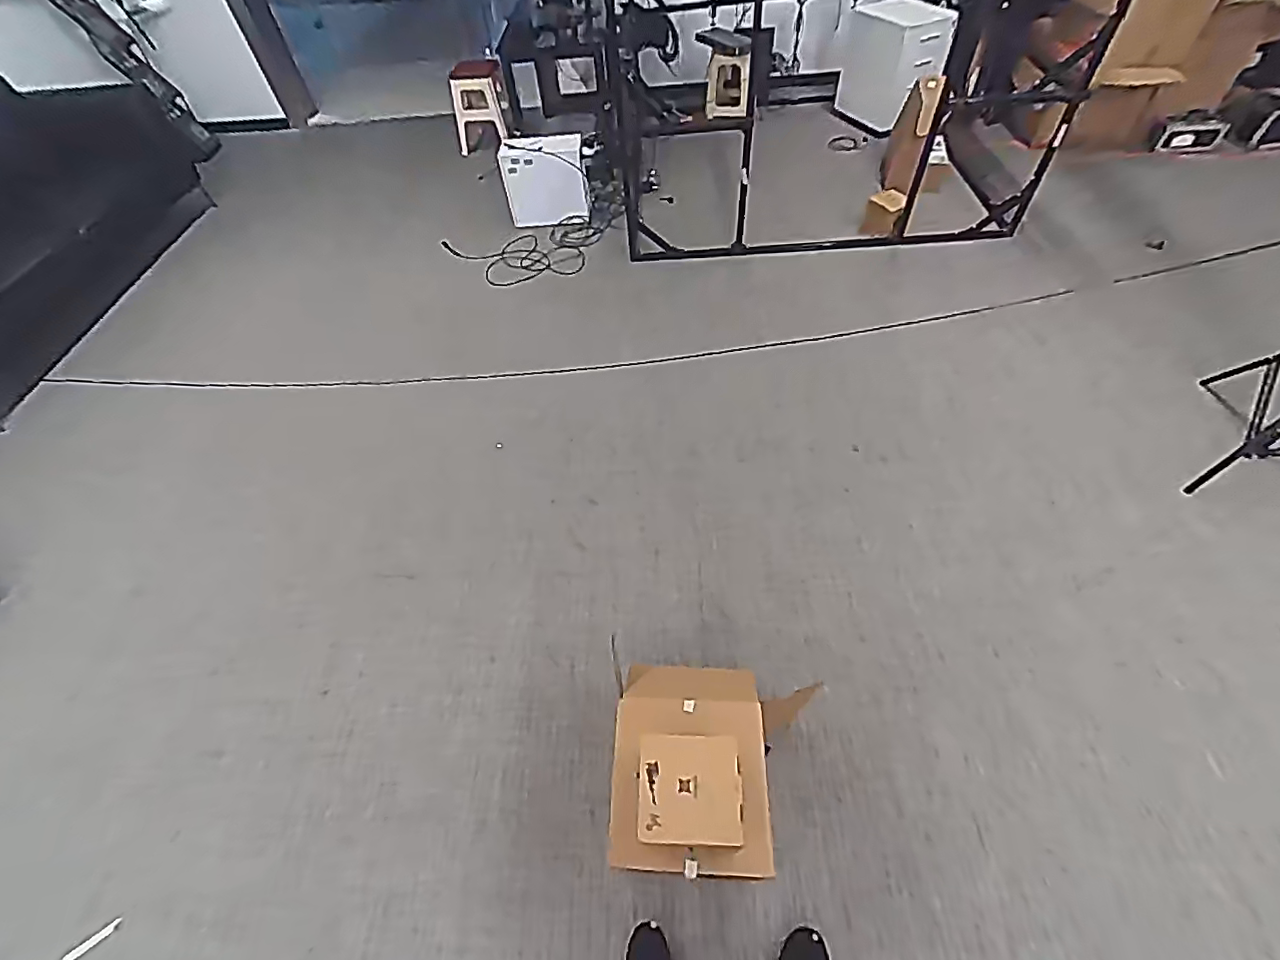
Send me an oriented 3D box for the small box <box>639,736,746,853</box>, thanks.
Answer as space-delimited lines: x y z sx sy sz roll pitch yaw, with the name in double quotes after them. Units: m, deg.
0.093 0.575 0.985 0.179 0.176 0.168 0 54 4 "small box"
